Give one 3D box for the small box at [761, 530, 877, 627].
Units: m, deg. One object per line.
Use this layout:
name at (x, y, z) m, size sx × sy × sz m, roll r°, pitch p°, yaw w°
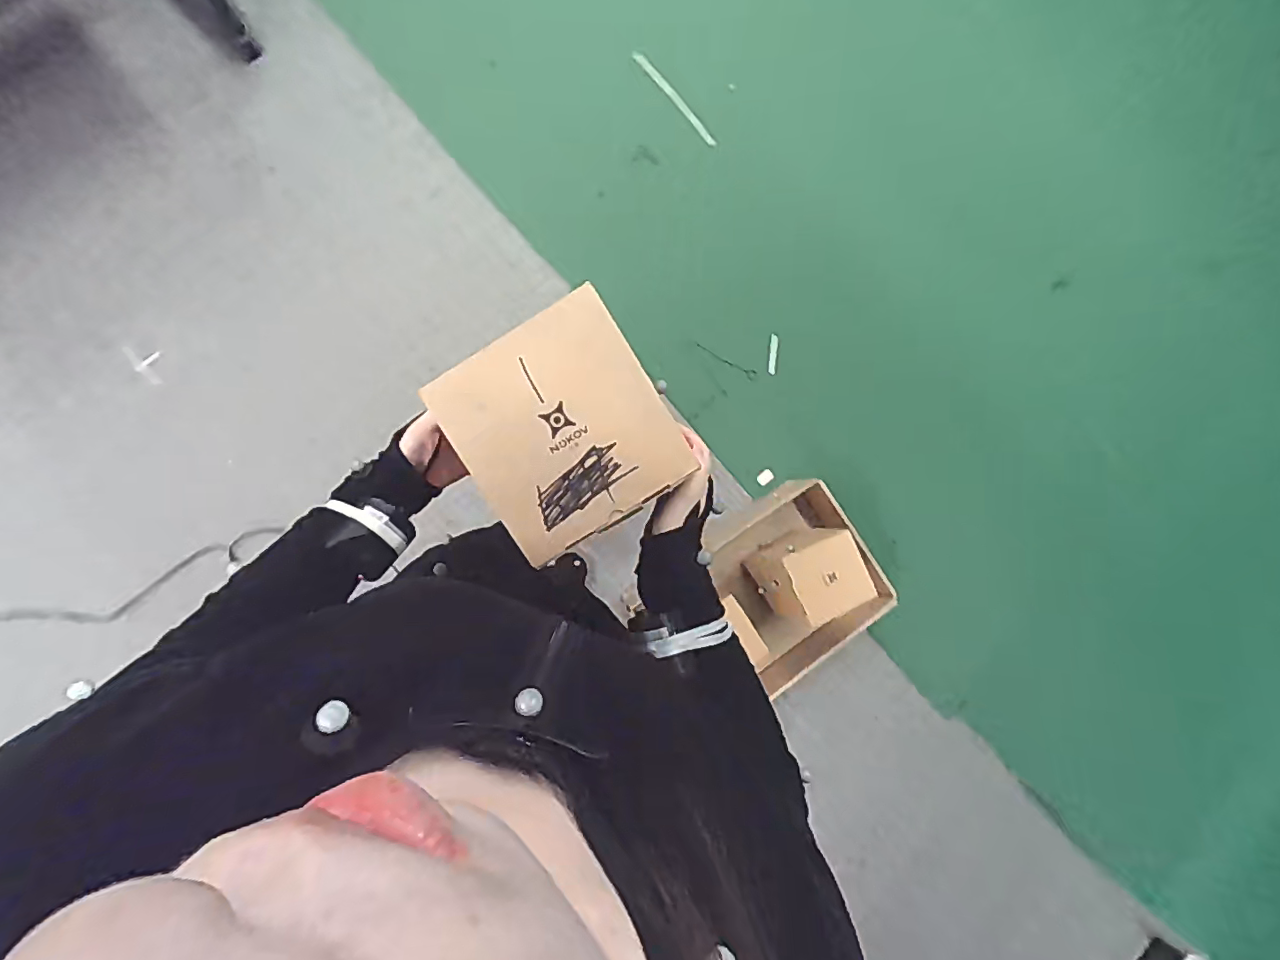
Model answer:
small box at (0.416, 0.223, 1.282) m, size 0.179 × 0.176 × 0.168 m, roll -23°, pitch 89°, yaw -6°
